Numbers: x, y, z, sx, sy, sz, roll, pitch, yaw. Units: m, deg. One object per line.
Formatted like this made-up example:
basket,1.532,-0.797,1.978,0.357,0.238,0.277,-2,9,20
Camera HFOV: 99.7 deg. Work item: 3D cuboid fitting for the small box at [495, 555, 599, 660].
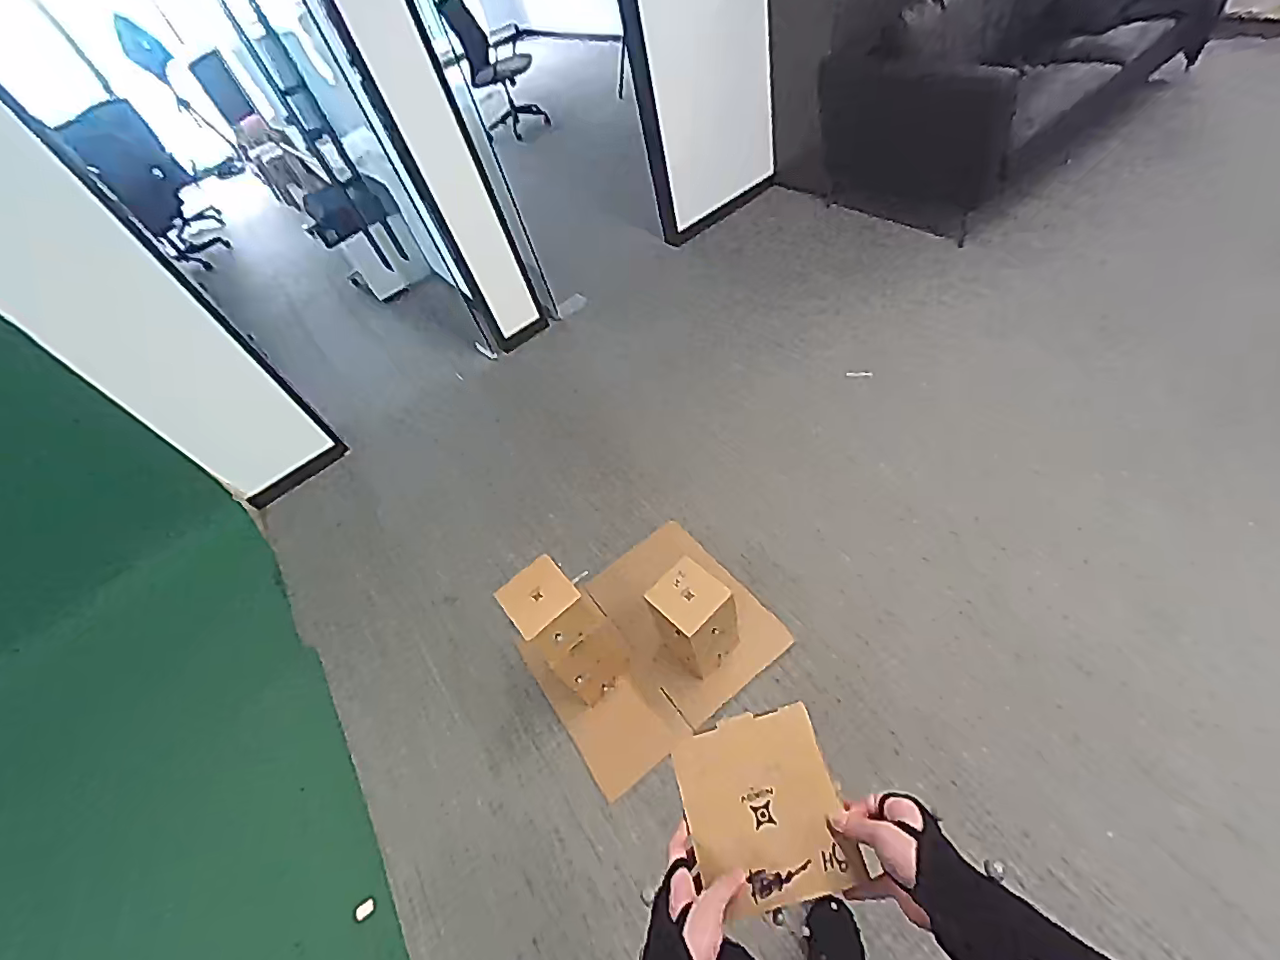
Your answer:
small box,-0.229,0.331,1.371,0.168,0.176,0.179,-39,51,-15

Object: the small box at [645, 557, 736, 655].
small box,0.142,0.346,1.455,0.168,0.176,0.179,-40,52,-18

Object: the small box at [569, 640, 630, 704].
small box,-0.158,0.535,1.615,0.168,0.176,0.179,-42,53,-18

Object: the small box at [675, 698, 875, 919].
small box,0.151,0.384,0.639,0.168,0.176,0.179,-18,55,4

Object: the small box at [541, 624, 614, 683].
small box,-0.195,0.435,1.491,0.168,0.176,0.179,-39,51,-16
